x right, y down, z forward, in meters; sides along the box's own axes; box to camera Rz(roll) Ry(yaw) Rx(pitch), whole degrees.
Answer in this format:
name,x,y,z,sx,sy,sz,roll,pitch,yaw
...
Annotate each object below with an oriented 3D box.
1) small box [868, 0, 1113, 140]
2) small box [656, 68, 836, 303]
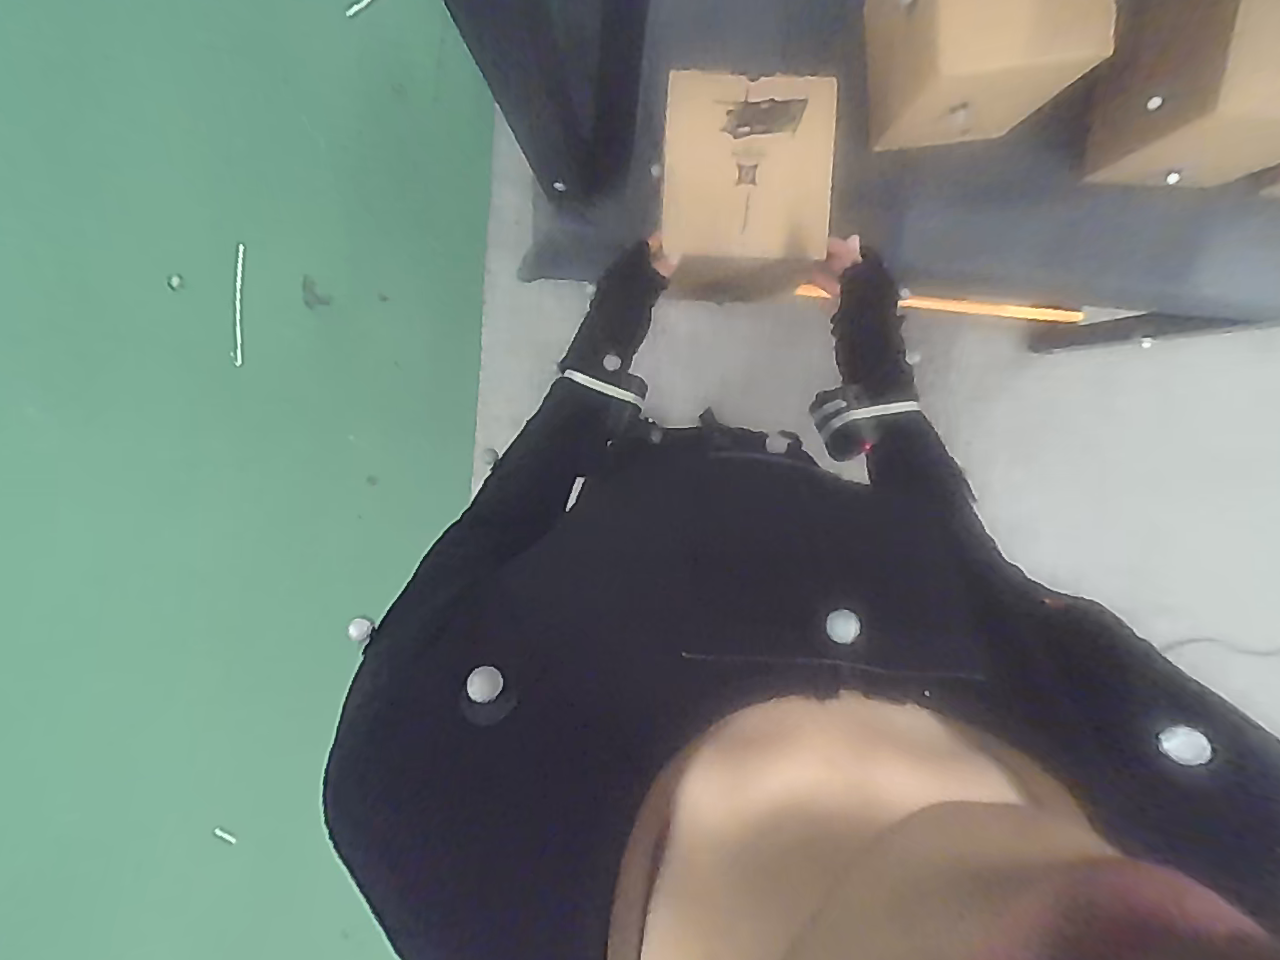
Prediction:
name,x,y,z,sx,sy,sz,roll,pitch,yaw
small box,0.359,-0.494,0.582,0.168,0.176,0.179,-5,98,3
small box,0.105,-0.314,0.608,0.168,0.176,0.179,3,94,1
